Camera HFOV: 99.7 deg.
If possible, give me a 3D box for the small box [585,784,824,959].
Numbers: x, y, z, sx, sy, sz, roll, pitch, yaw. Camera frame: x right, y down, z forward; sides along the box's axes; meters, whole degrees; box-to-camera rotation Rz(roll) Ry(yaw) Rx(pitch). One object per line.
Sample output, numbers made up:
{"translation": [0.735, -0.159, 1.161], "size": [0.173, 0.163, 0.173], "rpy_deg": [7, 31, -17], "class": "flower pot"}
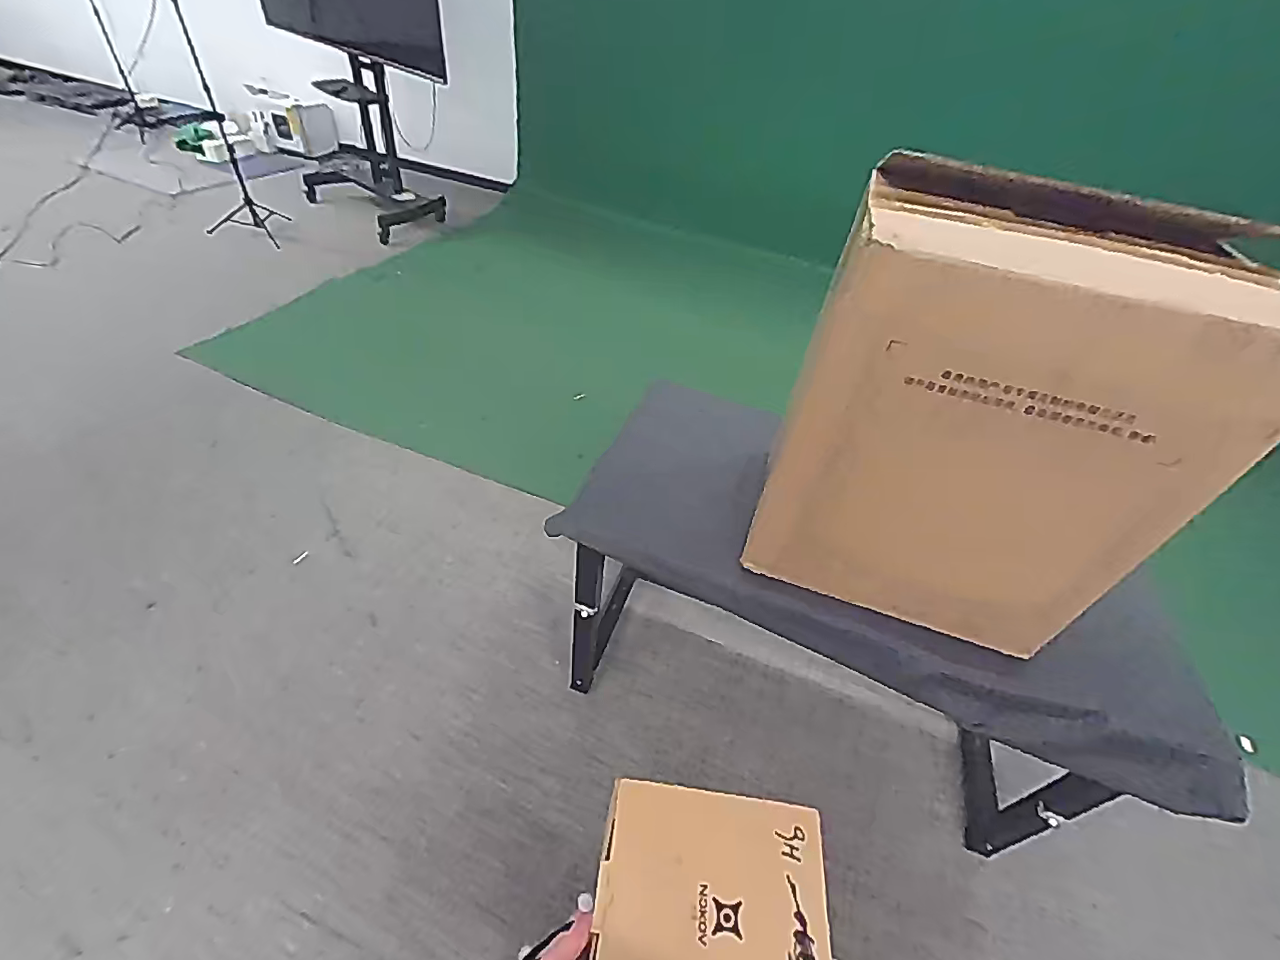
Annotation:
{"translation": [0.045, 0.387, 0.468], "size": [0.179, 0.176, 0.168], "rpy_deg": [10, 48, 1], "class": "small box"}
